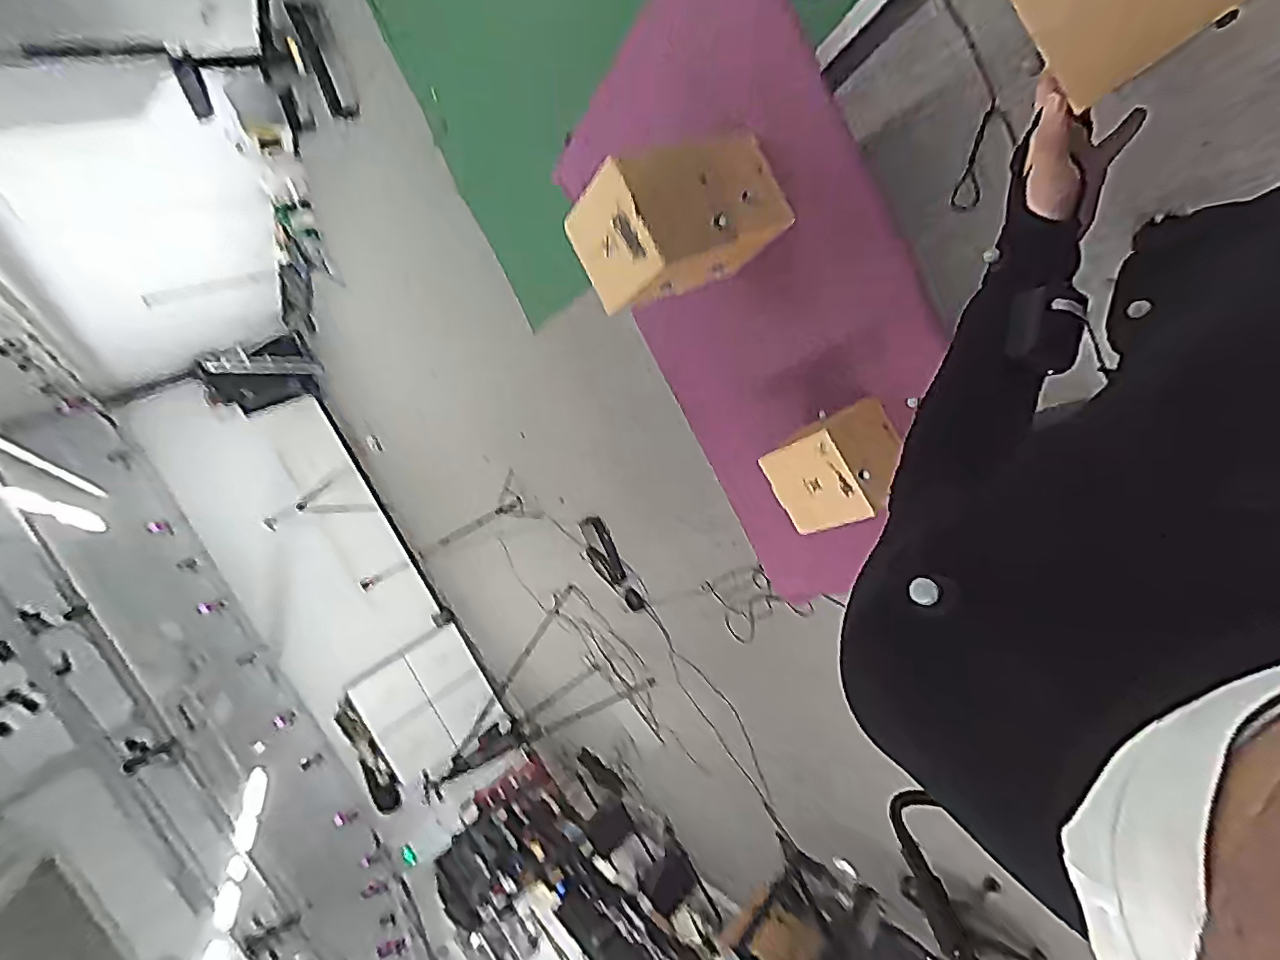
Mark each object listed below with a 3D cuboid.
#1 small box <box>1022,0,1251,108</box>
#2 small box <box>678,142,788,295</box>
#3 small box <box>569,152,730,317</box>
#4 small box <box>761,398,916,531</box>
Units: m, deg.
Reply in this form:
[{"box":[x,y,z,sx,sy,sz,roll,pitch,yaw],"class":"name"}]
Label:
[{"box":[0.348,-0.394,0.347,0.179,0.176,0.168,52,144,-11],"class":"small box"},{"box":[0.136,-0.465,0.964,0.168,0.176,0.179,61,149,-4],"class":"small box"},{"box":[0.021,-0.393,0.870,0.179,0.176,0.168,-16,103,59],"class":"small box"},{"box":[0.368,-0.027,1.008,0.168,0.176,0.179,59,148,-1],"class":"small box"}]
